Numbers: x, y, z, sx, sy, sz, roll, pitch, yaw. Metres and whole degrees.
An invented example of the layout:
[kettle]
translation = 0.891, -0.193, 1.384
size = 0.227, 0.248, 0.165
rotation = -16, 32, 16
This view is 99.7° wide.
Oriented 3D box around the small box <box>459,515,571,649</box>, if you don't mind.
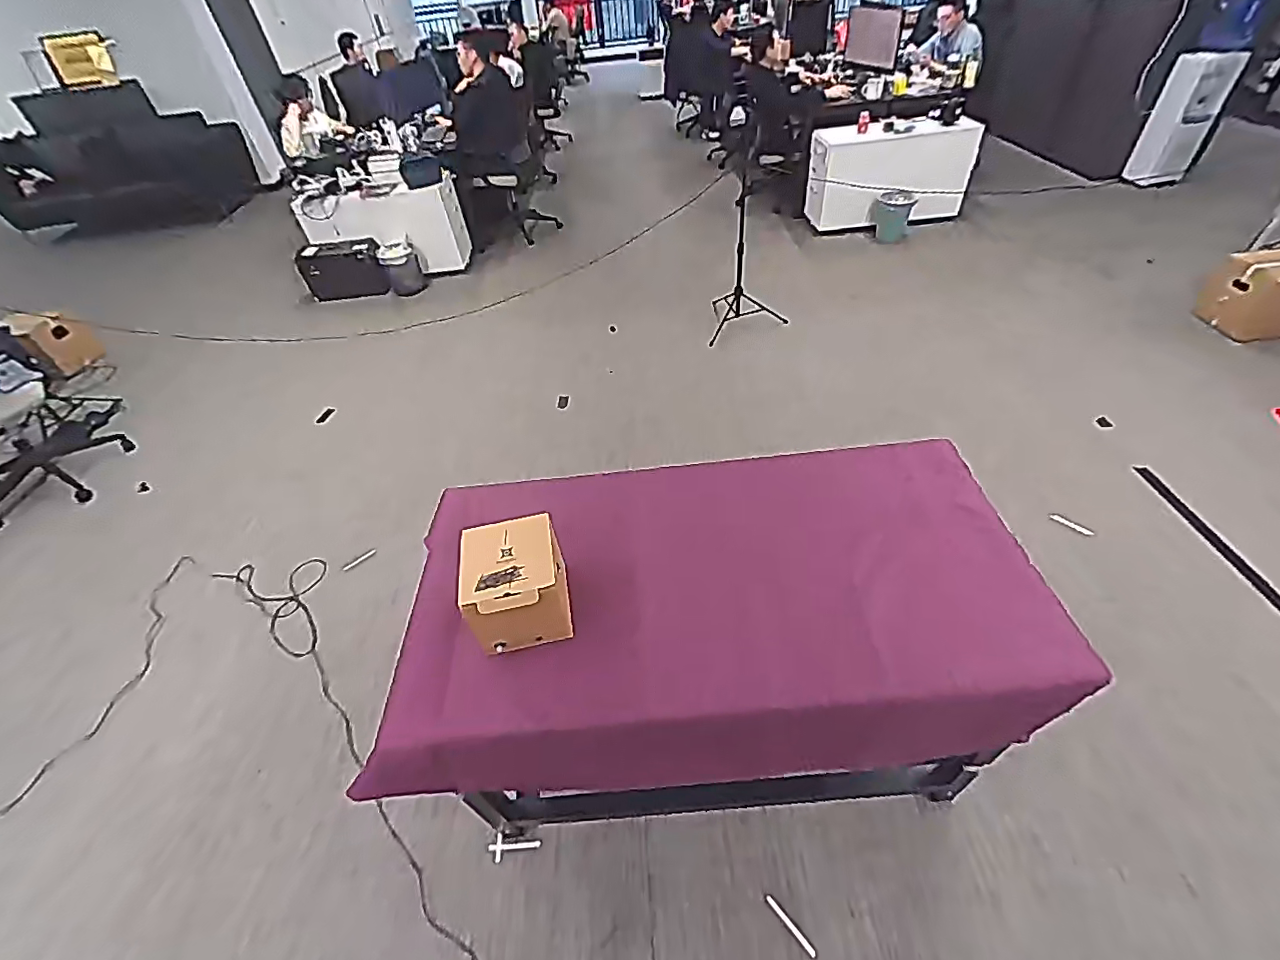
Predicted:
[small box]
translation = -0.229, 0.197, 1.012
size = 0.168, 0.176, 0.179
rotation = -11, 43, -5
